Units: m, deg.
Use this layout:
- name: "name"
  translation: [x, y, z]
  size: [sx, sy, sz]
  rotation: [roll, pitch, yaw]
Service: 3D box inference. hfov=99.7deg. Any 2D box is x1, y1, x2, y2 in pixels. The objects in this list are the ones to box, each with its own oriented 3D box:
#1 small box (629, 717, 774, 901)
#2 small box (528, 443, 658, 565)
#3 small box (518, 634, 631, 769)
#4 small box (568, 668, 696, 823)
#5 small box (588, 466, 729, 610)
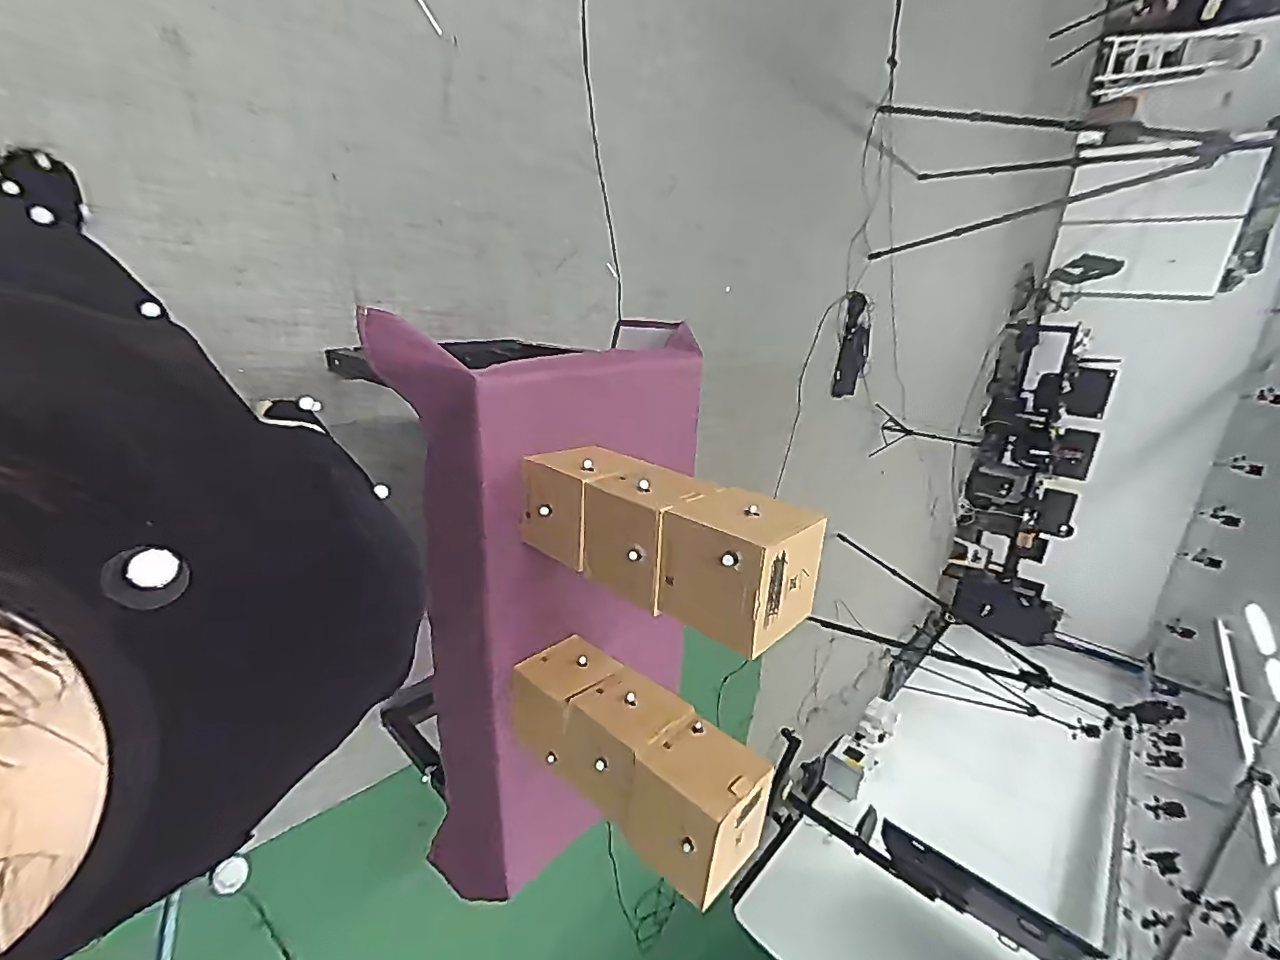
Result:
- name: "small box"
  translation: [0.099, 0.531, 0.910]
  size: [0.168, 0.176, 0.179]
  rotation: [-11, 115, -46]
- name: "small box"
  translation: [-0.092, 0.034, 1.002]
  size: [0.179, 0.176, 0.168]
  rotation: [-14, 116, -45]
- name: "small box"
  translation: [-0.138, 0.443, 1.120]
  size: [0.168, 0.176, 0.179]
  rotation: [-16, 117, -45]
- name: "small box"
  translation: [-0.019, 0.479, 1.013]
  size: [0.168, 0.176, 0.179]
  rotation: [-11, 113, -46]
- name: "small box"
  translation: [0.026, 0.082, 0.900]
  size: [0.168, 0.176, 0.179]
  rotation: [-15, 117, -43]
